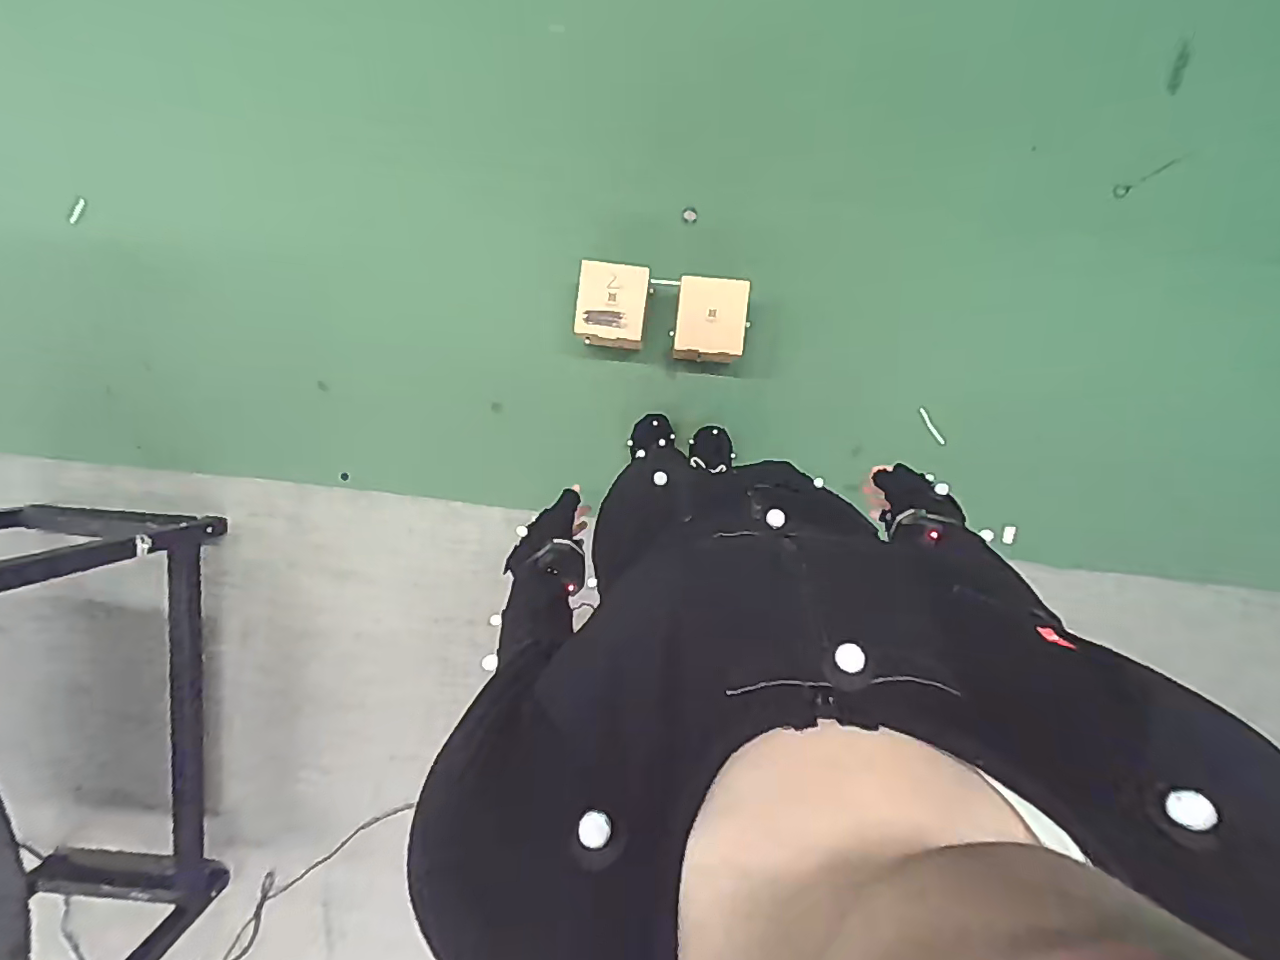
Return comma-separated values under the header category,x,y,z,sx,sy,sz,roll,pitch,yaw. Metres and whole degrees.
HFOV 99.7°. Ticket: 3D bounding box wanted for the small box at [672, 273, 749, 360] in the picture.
category,x,y,z,sx,sy,sz,roll,pitch,yaw
small box,0.172,-0.408,1.372,0.168,0.176,0.179,5,97,0
